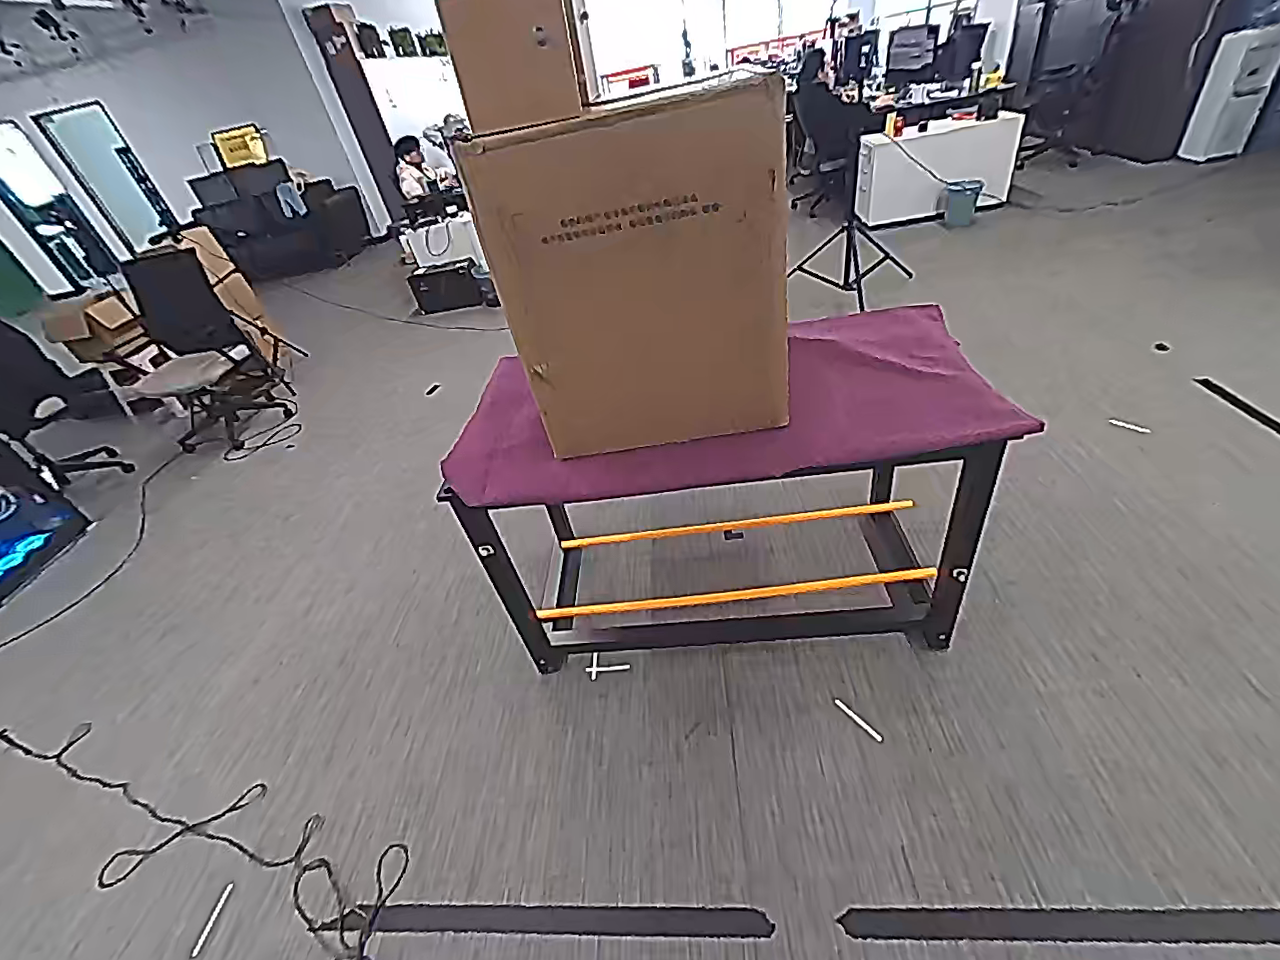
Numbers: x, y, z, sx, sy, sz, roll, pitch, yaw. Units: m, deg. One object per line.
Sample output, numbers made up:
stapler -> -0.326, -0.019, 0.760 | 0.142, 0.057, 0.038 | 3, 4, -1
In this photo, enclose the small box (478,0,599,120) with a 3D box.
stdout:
small box -> -0.178, -0.793, 1.018 | 0.168, 0.176, 0.179 | -5, 38, 8
